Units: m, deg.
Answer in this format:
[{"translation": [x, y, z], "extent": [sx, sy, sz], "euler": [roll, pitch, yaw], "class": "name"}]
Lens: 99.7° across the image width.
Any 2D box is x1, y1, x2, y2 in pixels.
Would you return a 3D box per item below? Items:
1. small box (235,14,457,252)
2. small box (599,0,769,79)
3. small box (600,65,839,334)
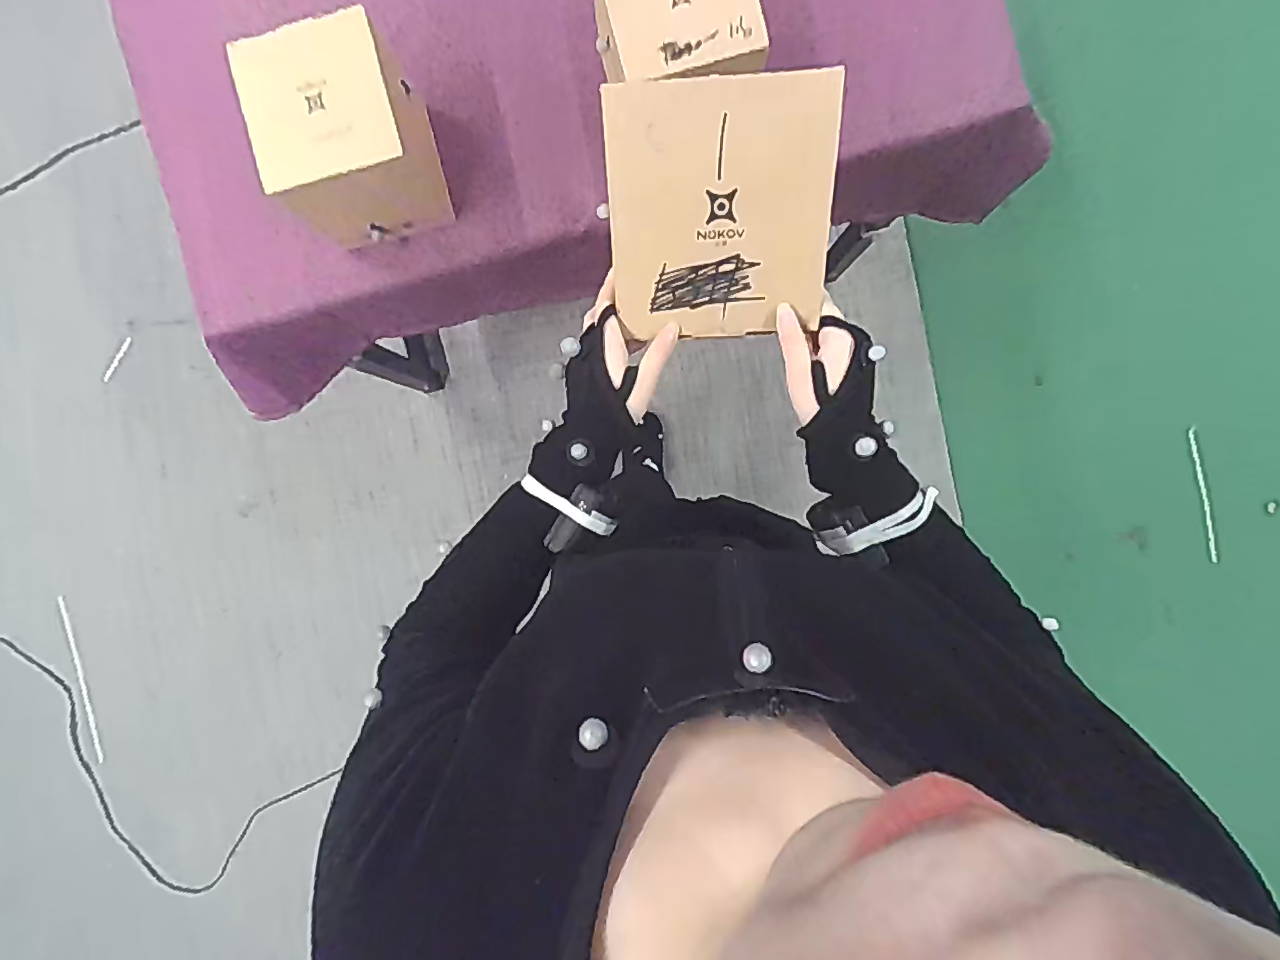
[{"translation": [-0.358, -0.425, 0.691], "extent": [0.168, 0.176, 0.179], "euler": [-15, 92, 2], "class": "small box"}, {"translation": [0.046, -0.537, 0.678], "extent": [0.168, 0.176, 0.179], "euler": [-15, 90, 3], "class": "small box"}, {"translation": [0.060, -0.237, 0.475], "extent": [0.168, 0.176, 0.179], "euler": [-2, 118, 3], "class": "small box"}]
